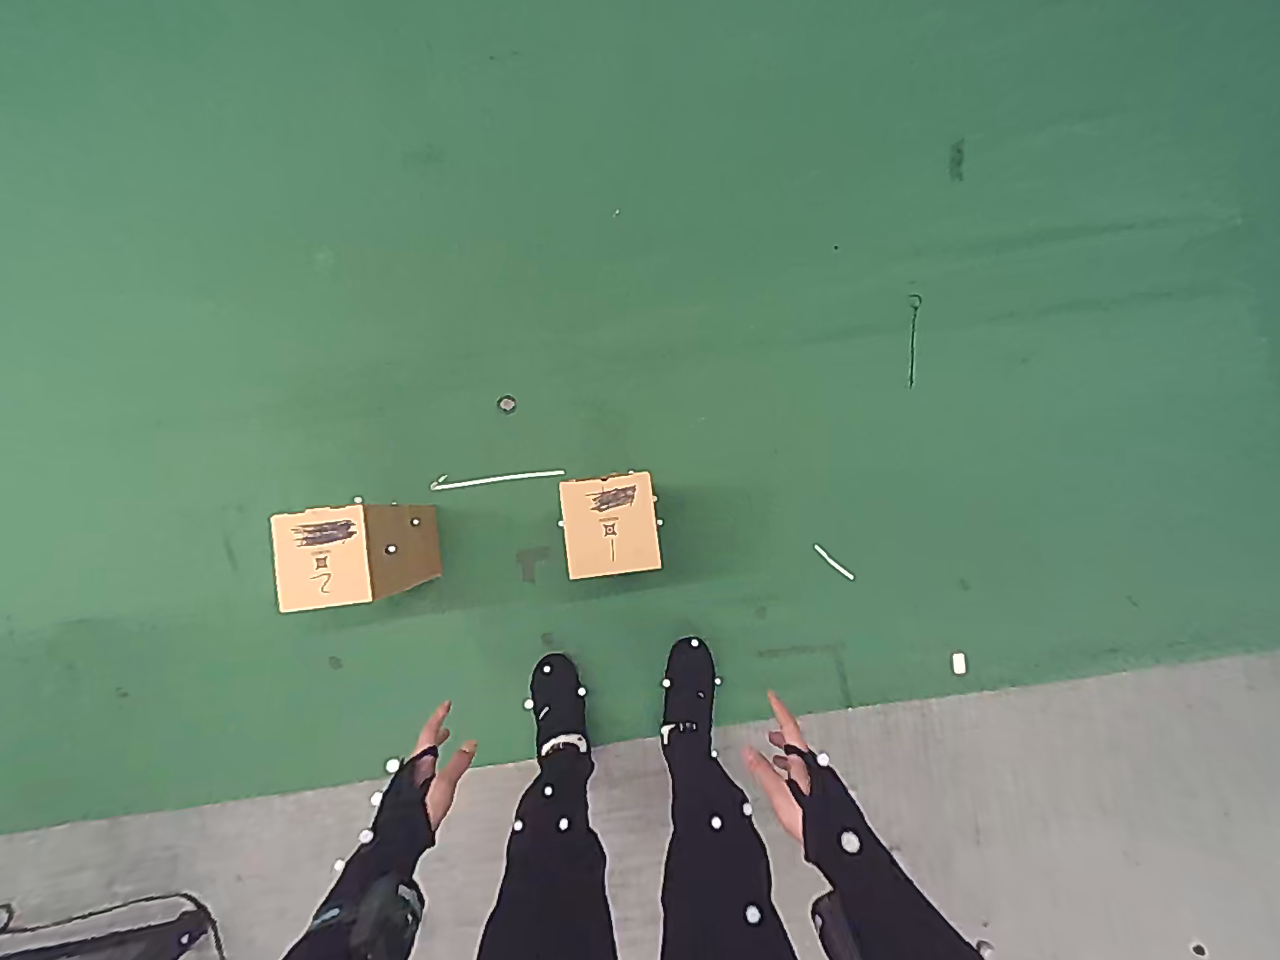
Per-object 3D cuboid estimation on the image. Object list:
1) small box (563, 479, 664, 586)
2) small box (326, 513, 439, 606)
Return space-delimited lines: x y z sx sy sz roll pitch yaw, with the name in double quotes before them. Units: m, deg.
"small box" -0.051 0.098 1.031 0.168 0.176 0.179 -7 87 -2
"small box" -0.555 0.168 1.185 0.168 0.176 0.179 -8 85 -1
